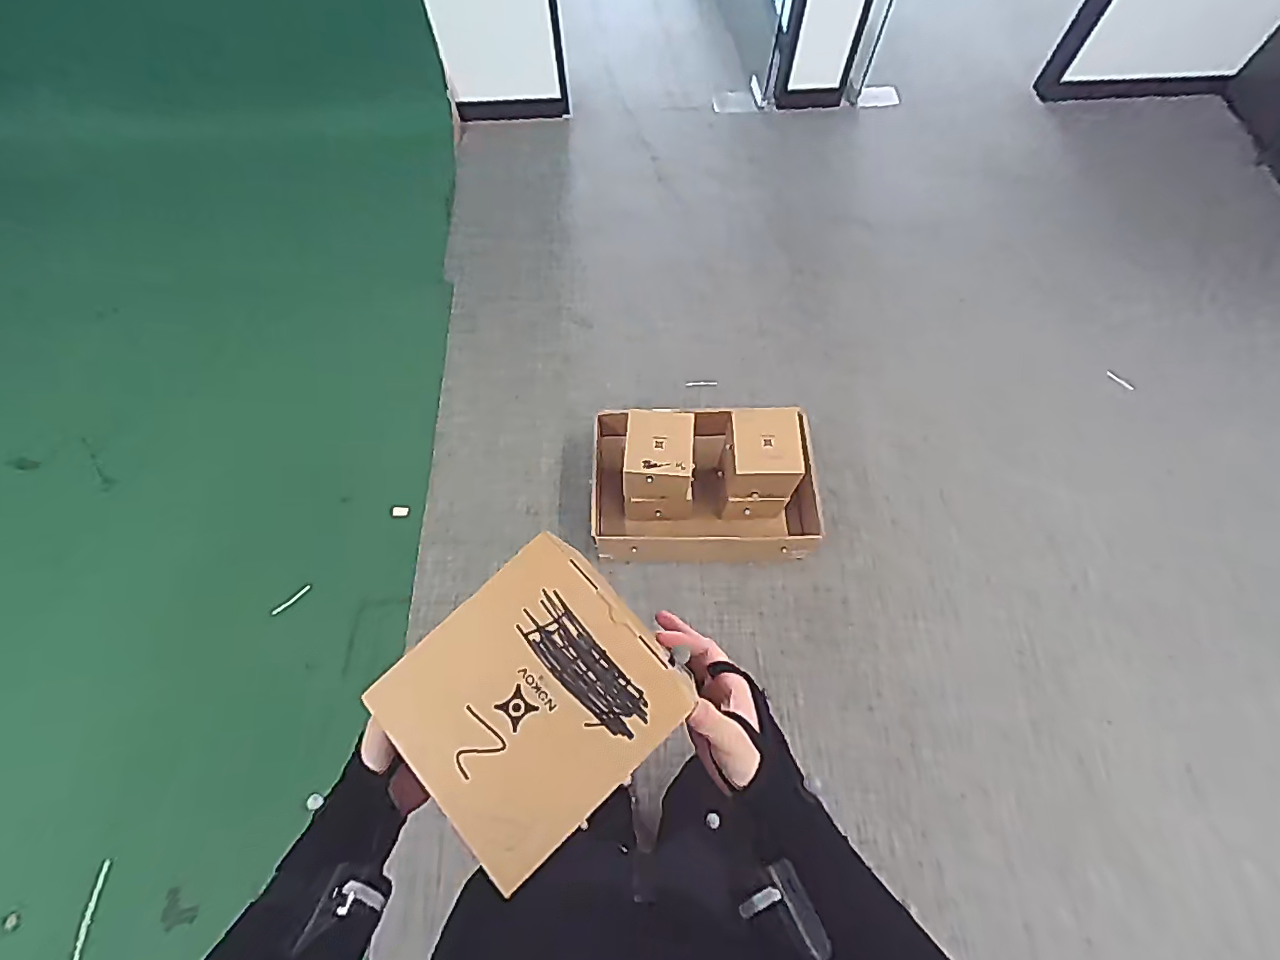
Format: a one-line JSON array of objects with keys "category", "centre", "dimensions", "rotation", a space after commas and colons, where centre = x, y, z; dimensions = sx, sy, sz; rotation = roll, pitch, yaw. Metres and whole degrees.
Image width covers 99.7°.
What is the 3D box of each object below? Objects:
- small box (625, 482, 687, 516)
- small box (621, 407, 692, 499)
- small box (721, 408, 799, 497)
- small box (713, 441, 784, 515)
[{"category": "small box", "centre": [0.043, 0.000, 1.545], "dimensions": [0.168, 0.176, 0.179], "rotation": [-1, 67, -3]}, {"category": "small box", "centre": [0.040, -0.067, 1.394], "dimensions": [0.168, 0.176, 0.179], "rotation": [5, 66, 1]}, {"category": "small box", "centre": [0.304, -0.069, 1.402], "dimensions": [0.168, 0.176, 0.179], "rotation": [0, 67, 1]}, {"category": "small box", "centre": [0.306, -0.002, 1.551], "dimensions": [0.168, 0.176, 0.179], "rotation": [-1, 67, 0]}]
